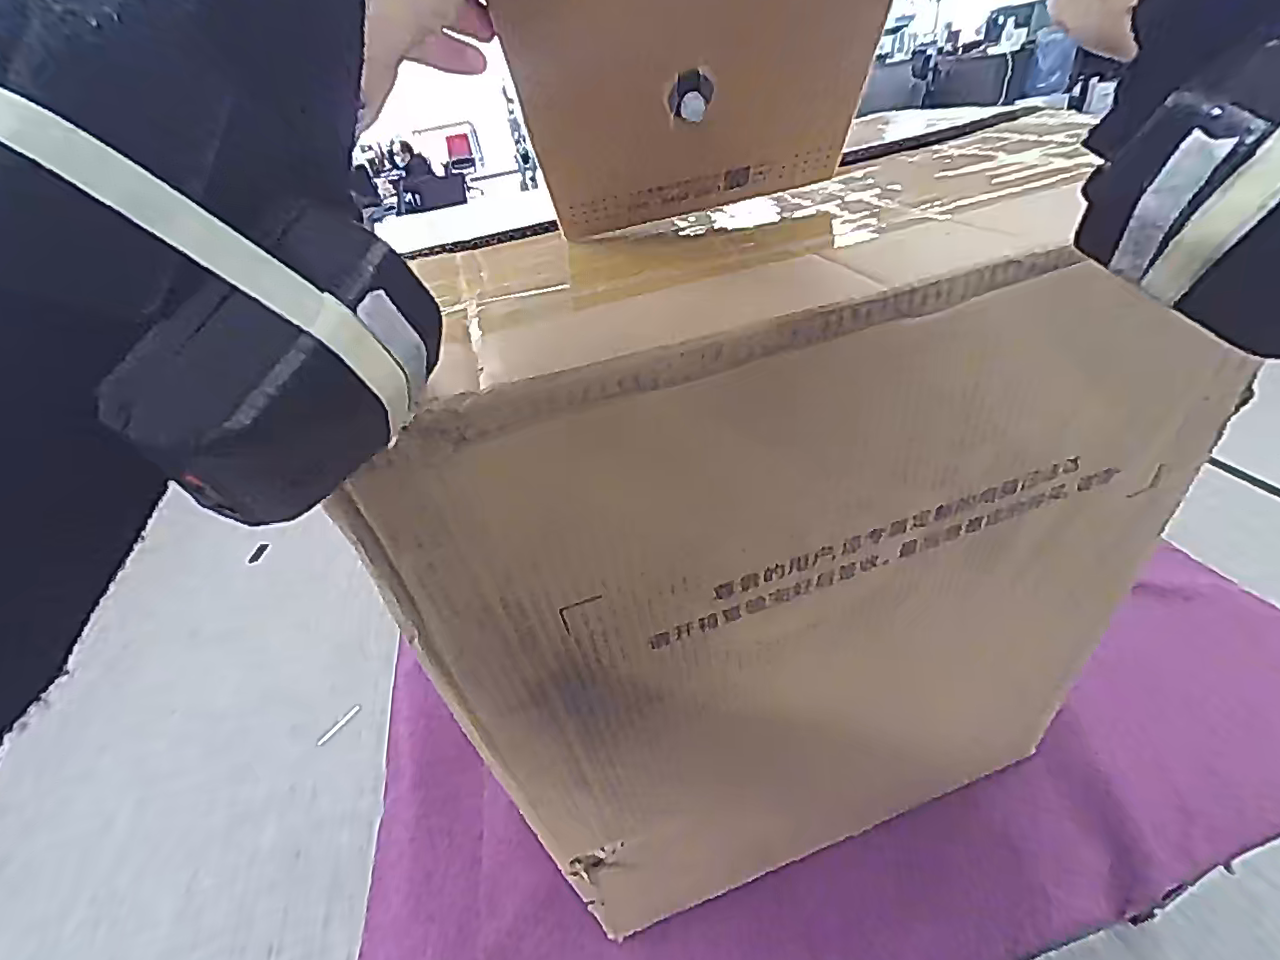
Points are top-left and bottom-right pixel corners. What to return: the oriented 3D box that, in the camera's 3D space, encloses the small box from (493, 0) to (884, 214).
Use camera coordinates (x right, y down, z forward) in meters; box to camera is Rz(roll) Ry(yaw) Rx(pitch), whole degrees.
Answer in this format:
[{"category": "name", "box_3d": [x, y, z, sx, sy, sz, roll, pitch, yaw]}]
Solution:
[{"category": "small box", "box_3d": [0.016, -0.261, 0.266, 0.168, 0.176, 0.179, -12, 76, 2]}]
